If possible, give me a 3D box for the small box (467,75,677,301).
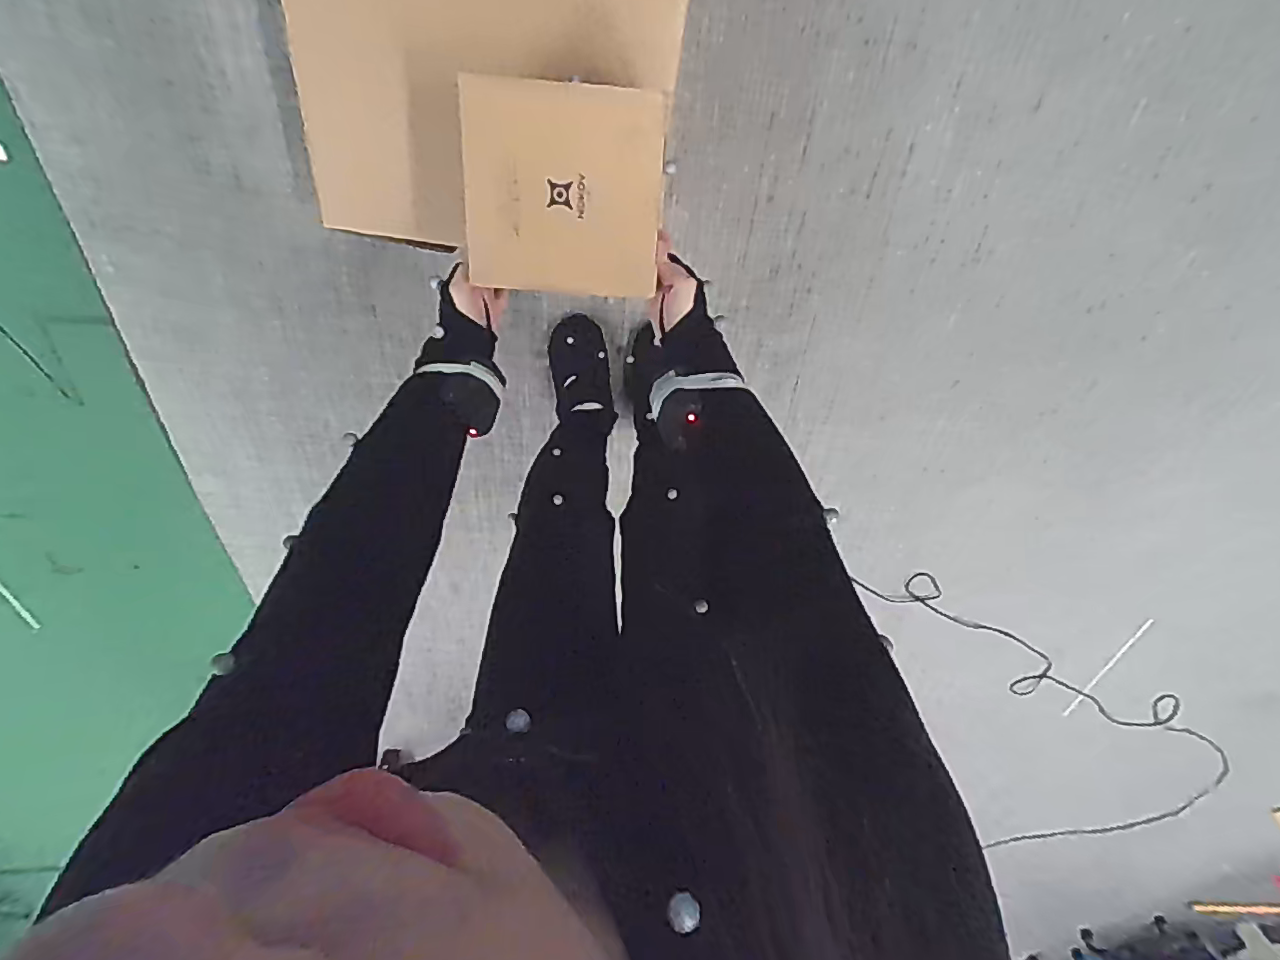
[{"bbox_3d":[-0.064,-0.281,0.548,0.179,0.176,0.168,3,113,-4],"label":"small box"}]
